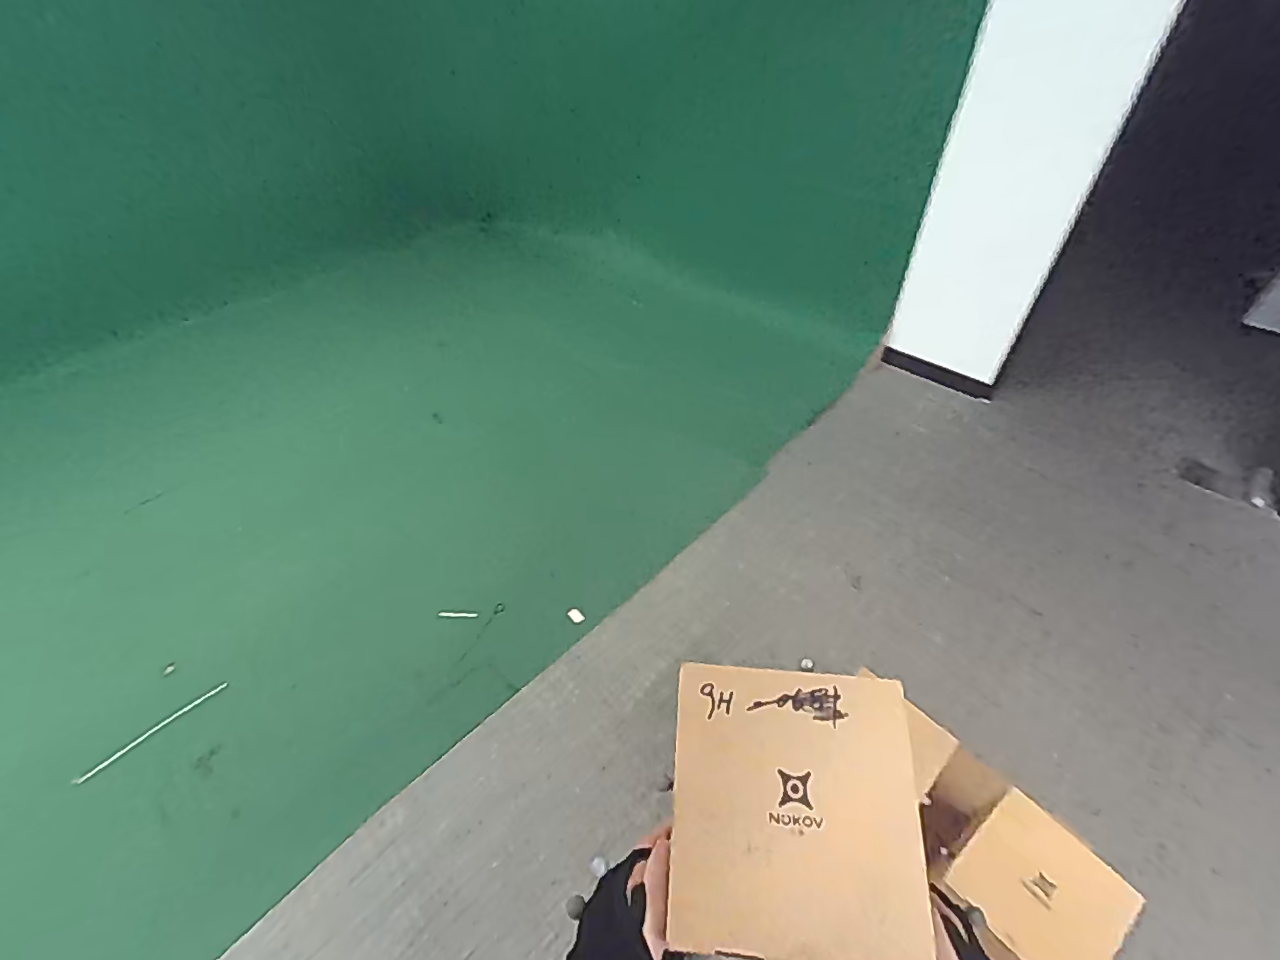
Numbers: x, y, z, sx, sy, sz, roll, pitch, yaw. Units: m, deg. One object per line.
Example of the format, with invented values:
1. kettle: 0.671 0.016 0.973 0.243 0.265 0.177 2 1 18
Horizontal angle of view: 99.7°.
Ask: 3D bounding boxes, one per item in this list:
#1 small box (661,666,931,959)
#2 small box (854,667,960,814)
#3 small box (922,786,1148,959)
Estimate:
1. small box: 0.106 0.257 0.437 0.168 0.176 0.179 2 63 4
2. small box: 0.366 0.446 0.868 0.179 0.176 0.168 -36 56 -25
3. small box: 0.517 0.567 0.736 0.179 0.176 0.168 -32 50 -23
